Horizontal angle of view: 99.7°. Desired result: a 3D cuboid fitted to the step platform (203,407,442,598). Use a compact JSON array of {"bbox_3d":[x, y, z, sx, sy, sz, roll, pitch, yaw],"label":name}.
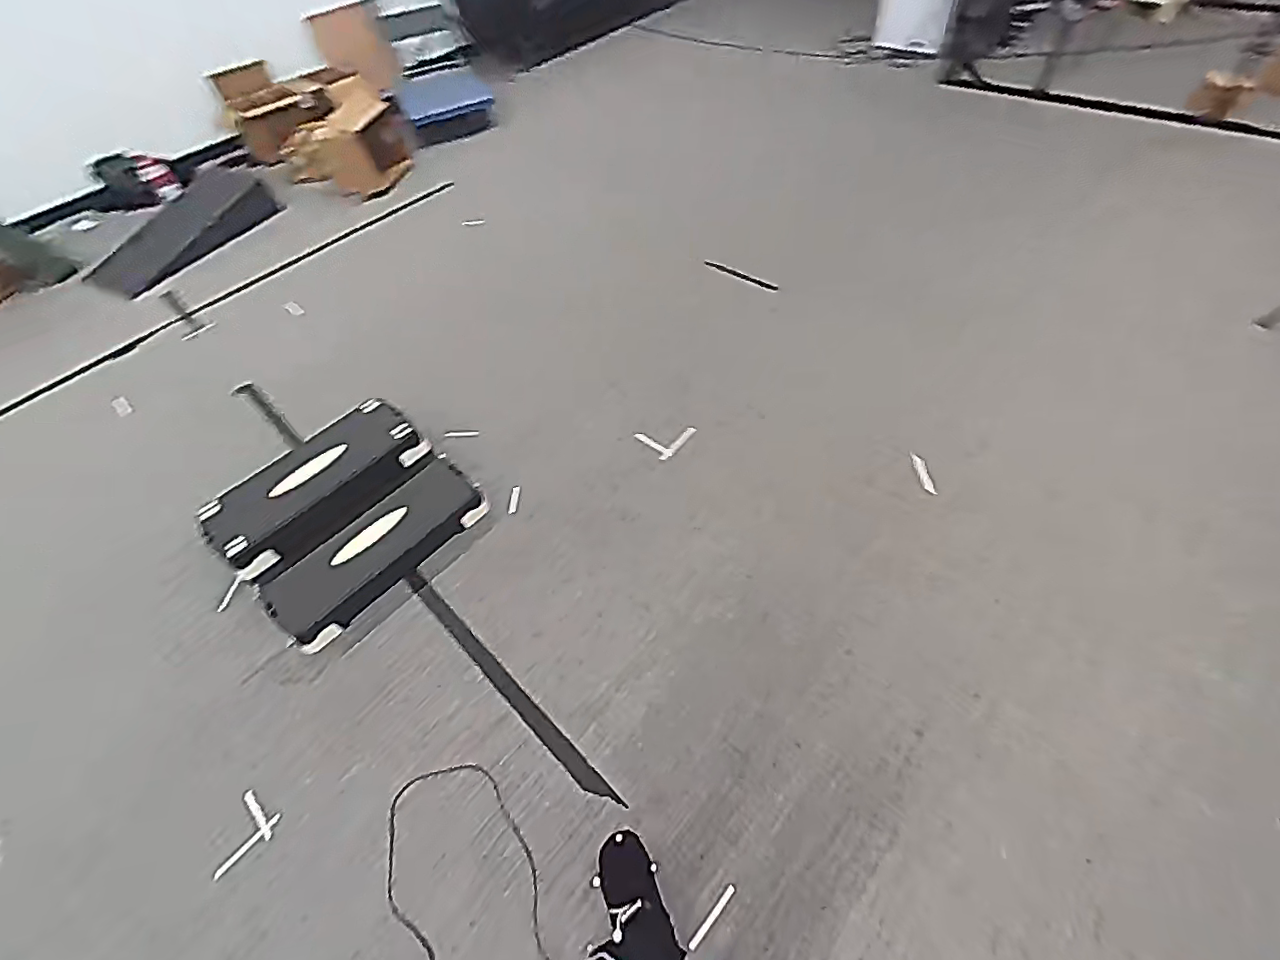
[{"bbox_3d":[-1.016,0.052,1.768,0.286,0.204,0.684,34,63,27],"label":"step platform"}]
